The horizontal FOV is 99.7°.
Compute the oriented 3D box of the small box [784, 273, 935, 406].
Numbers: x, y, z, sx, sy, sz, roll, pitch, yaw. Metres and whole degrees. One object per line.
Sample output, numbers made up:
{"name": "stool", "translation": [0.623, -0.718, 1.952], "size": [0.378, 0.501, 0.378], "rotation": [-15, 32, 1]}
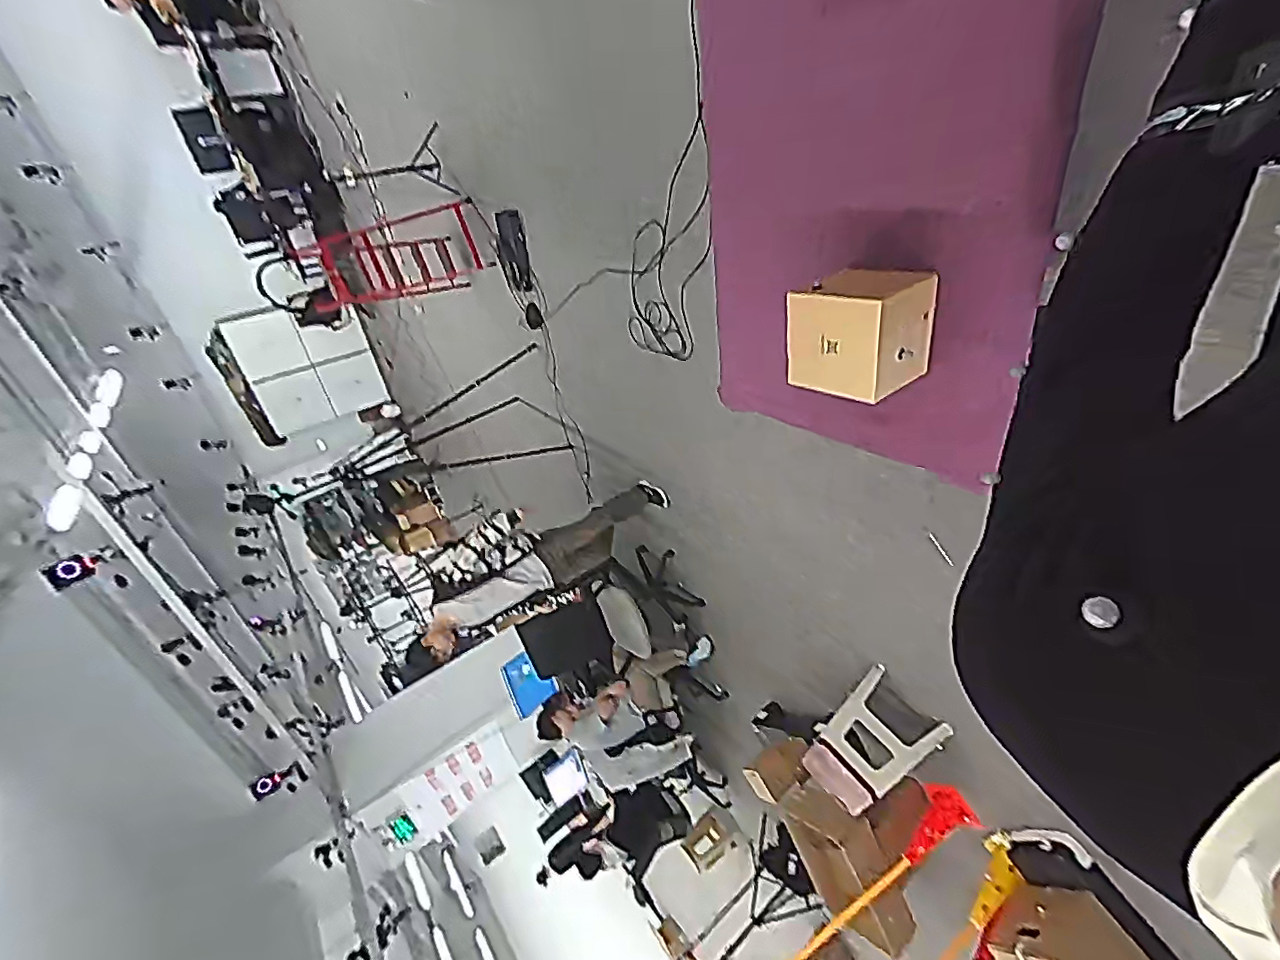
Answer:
{"name": "small box", "translation": [0.369, -0.246, 0.916], "size": [0.179, 0.176, 0.168], "rotation": [28, 137, 47]}
